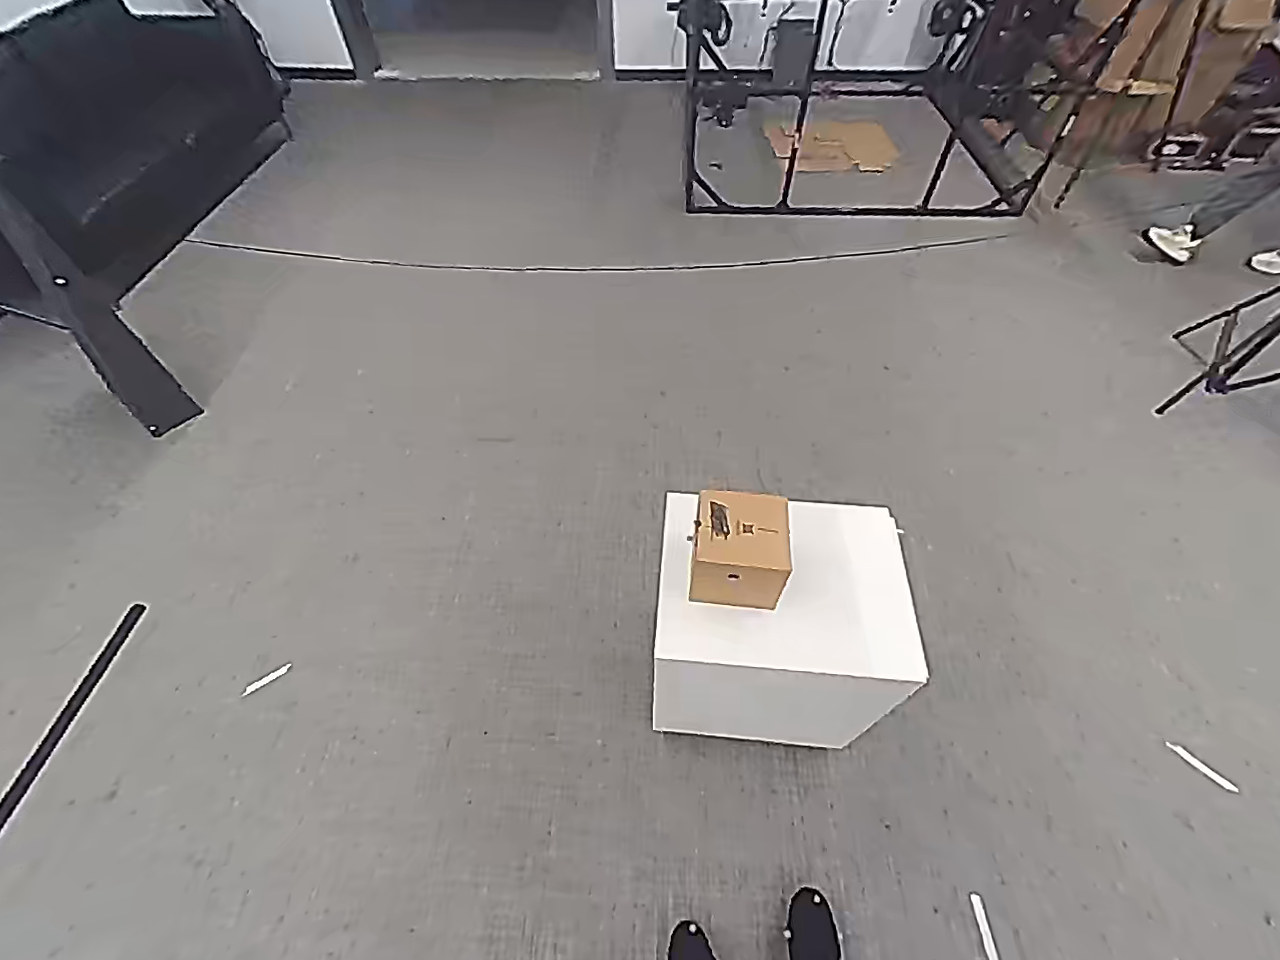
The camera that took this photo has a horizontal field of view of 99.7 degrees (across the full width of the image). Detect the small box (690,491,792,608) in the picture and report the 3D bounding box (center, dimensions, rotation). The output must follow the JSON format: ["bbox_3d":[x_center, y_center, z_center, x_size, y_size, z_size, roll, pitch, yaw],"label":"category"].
[{"bbox_3d":[0.195,0.142,1.079,0.179,0.176,0.168,6,53,4],"label":"small box"}]
